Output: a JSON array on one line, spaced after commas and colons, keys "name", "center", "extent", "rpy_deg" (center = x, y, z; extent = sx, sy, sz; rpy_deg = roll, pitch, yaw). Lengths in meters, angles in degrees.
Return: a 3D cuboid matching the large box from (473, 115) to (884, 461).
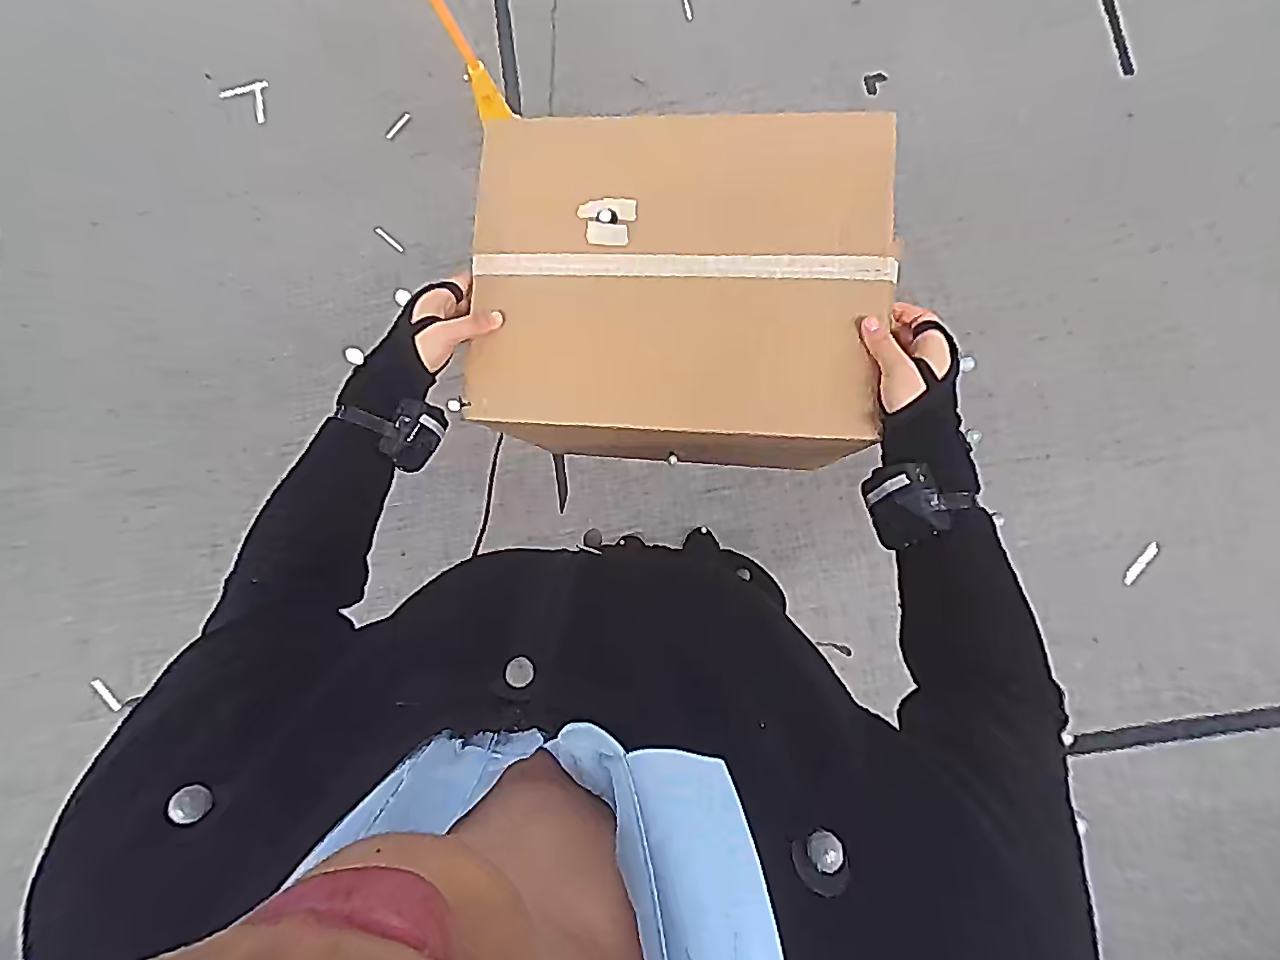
[{"name": "large box", "center": [0.054, -0.194, 0.680], "extent": [0.408, 0.320, 0.320], "rpy_deg": [3, 85, 8]}]
